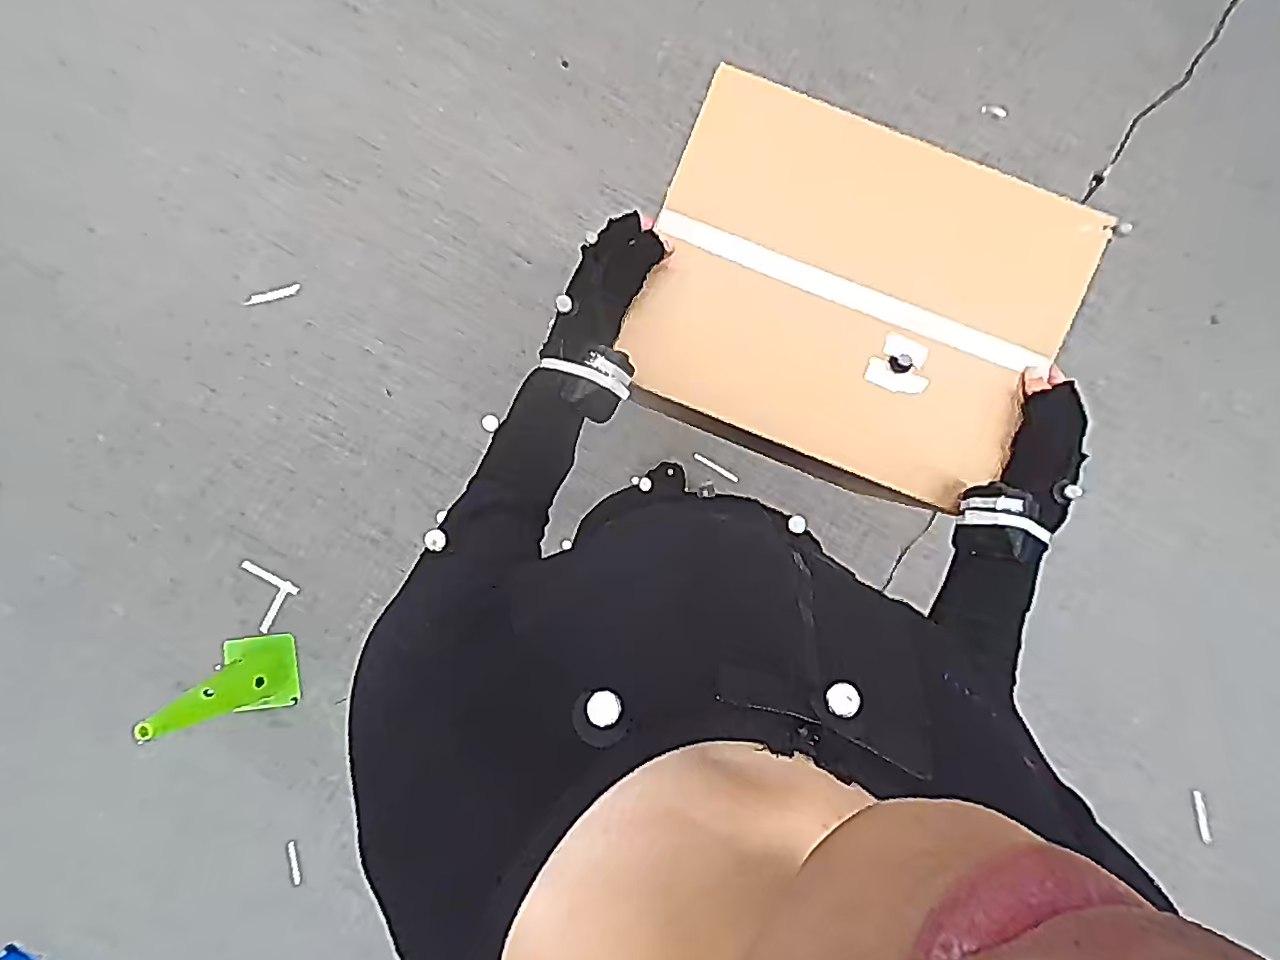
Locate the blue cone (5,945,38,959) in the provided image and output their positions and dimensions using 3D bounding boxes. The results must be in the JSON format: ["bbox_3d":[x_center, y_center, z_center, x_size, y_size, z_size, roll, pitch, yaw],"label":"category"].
[{"bbox_3d":[-1.746,1.430,1.358,0.192,0.380,0.193,33,90,2],"label":"blue cone"}]

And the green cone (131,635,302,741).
[{"bbox_3d":[-1.053,0.535,1.330,0.202,0.368,0.200,-8,89,3],"label":"green cone"}]

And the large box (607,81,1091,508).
[{"bbox_3d":[0.204,-0.188,0.682,0.408,0.320,0.320,22,94,0],"label":"large box"}]
